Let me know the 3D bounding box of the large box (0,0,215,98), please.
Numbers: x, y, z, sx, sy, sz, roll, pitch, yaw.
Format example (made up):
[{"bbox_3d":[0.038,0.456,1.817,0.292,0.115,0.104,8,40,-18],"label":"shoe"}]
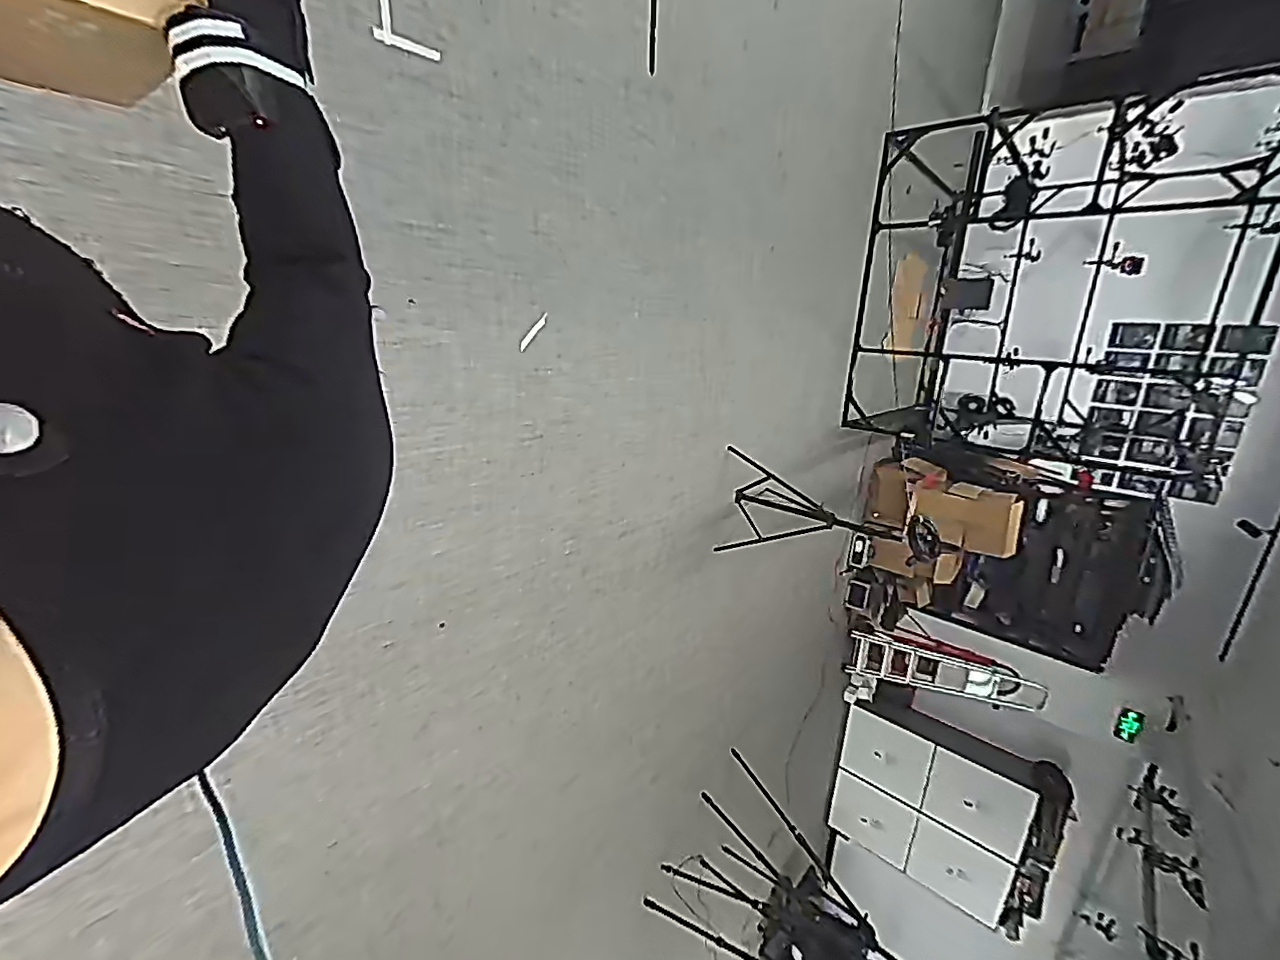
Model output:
[{"bbox_3d":[-0.536,-0.462,0.285,0.408,0.320,0.320,-16,118,-48],"label":"large box"}]
